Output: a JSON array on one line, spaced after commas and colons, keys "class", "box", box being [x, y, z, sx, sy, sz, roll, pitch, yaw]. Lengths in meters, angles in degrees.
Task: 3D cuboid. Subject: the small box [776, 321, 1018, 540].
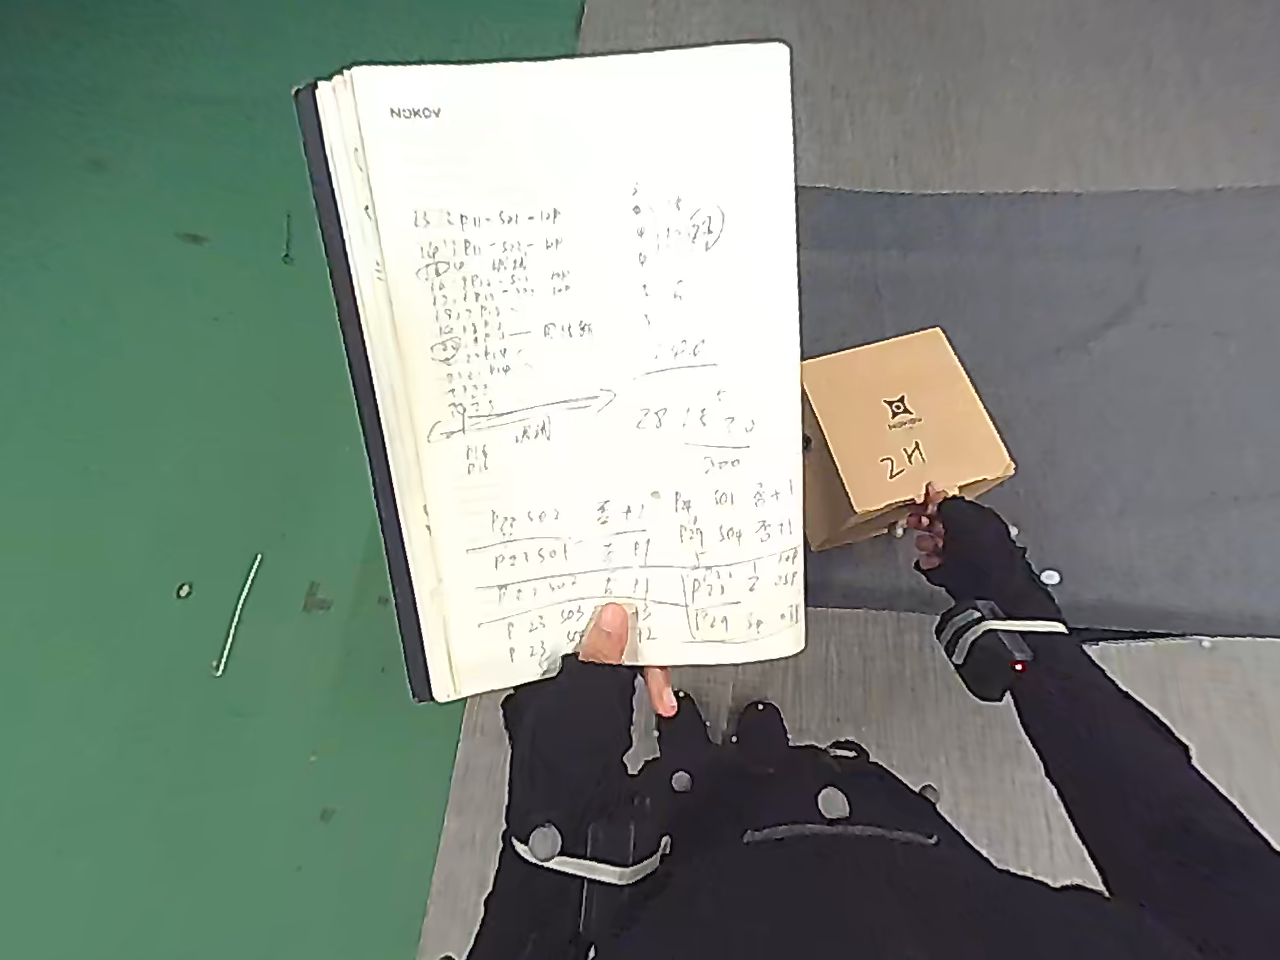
[{"class": "small box", "box": [0.271, -0.048, 0.622, 0.168, 0.176, 0.179, -15, 70, -2]}]
